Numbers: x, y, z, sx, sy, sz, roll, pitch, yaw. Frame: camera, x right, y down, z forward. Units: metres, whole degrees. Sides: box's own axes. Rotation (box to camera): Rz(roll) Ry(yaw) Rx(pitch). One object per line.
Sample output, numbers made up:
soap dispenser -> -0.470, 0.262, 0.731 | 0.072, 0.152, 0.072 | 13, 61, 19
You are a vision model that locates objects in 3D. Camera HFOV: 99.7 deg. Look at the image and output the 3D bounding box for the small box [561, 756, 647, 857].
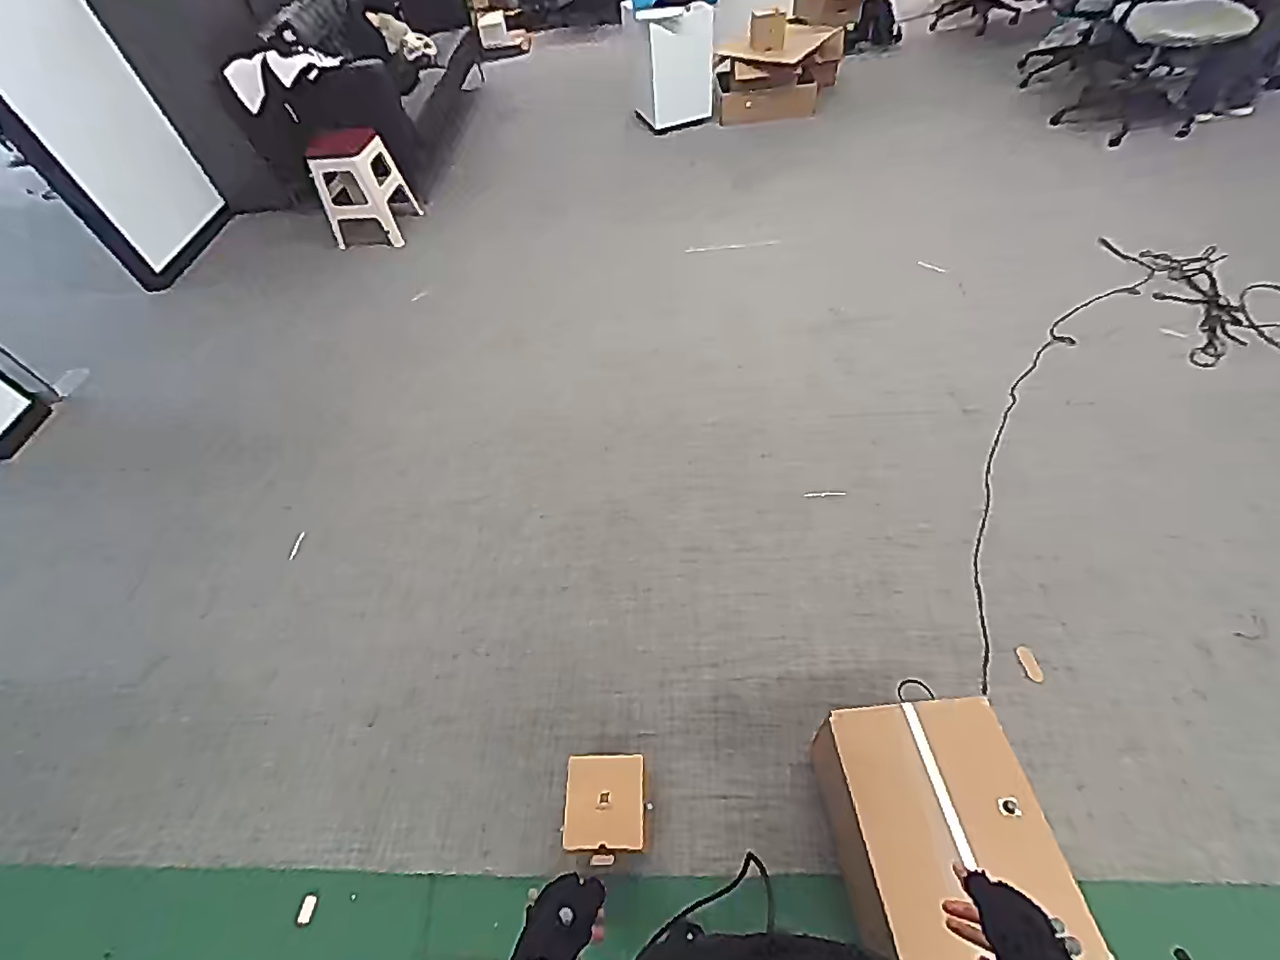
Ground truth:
small box -> -0.074, 0.728, 1.203 | 0.168, 0.176, 0.179 | -4, 53, 4
